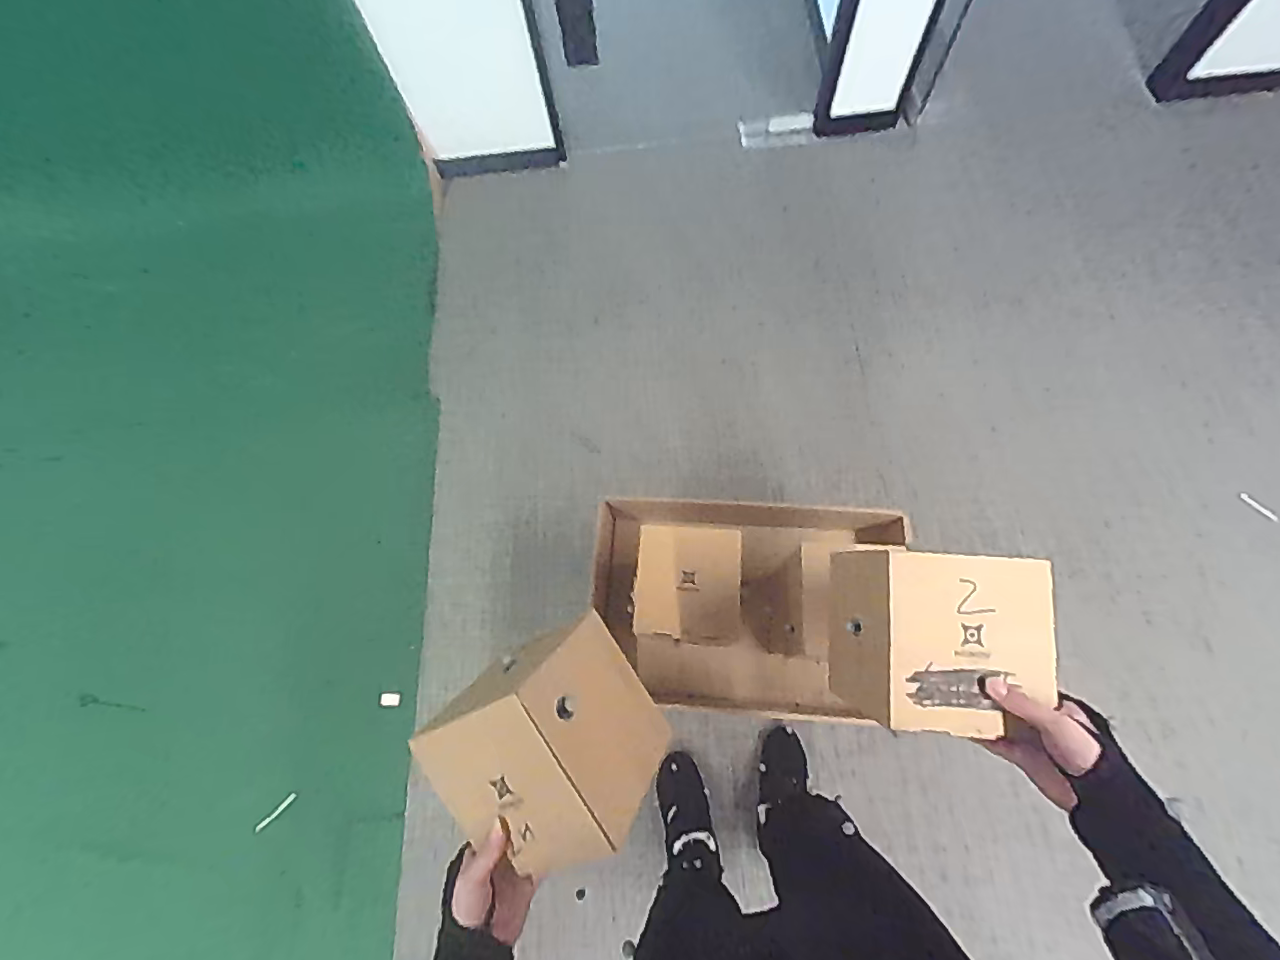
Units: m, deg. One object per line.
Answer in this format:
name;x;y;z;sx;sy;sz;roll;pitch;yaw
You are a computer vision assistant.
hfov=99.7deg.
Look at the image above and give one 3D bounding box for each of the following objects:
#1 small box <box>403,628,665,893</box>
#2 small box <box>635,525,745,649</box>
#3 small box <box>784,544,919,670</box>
small box;-0.101;0.281;0.576;0.168;0.176;0.179;-31;91;25
small box;0.084;0.188;0.921;0.168;0.176;0.179;4;71;4
small box;0.337;0.213;0.890;0.168;0.176;0.179;3;70;5
